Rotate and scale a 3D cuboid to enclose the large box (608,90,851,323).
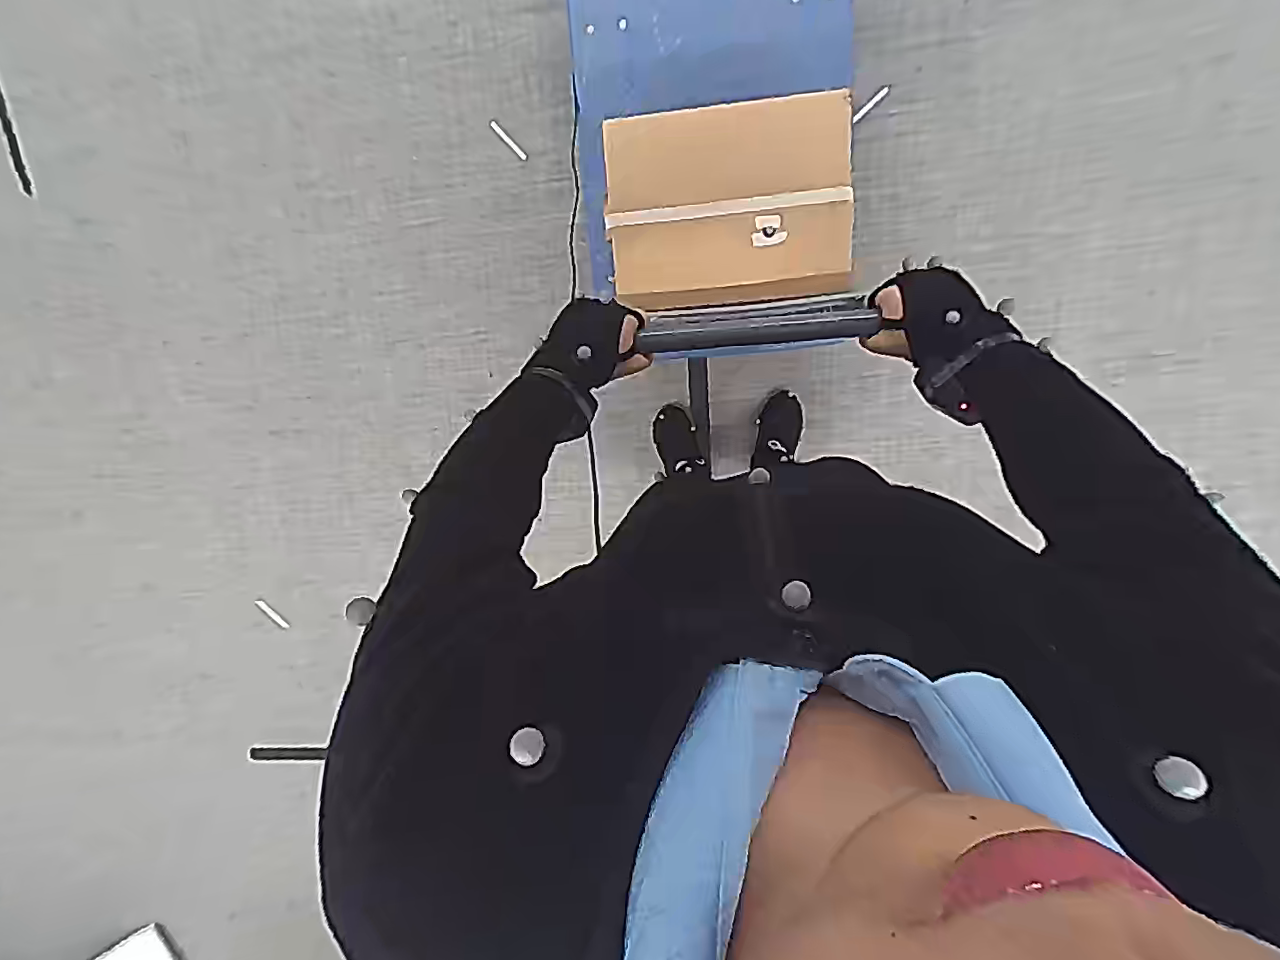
[{"bbox_3d":[0.166,-0.501,1.072,0.408,0.320,0.320,-4,103,6],"label":"large box"}]
